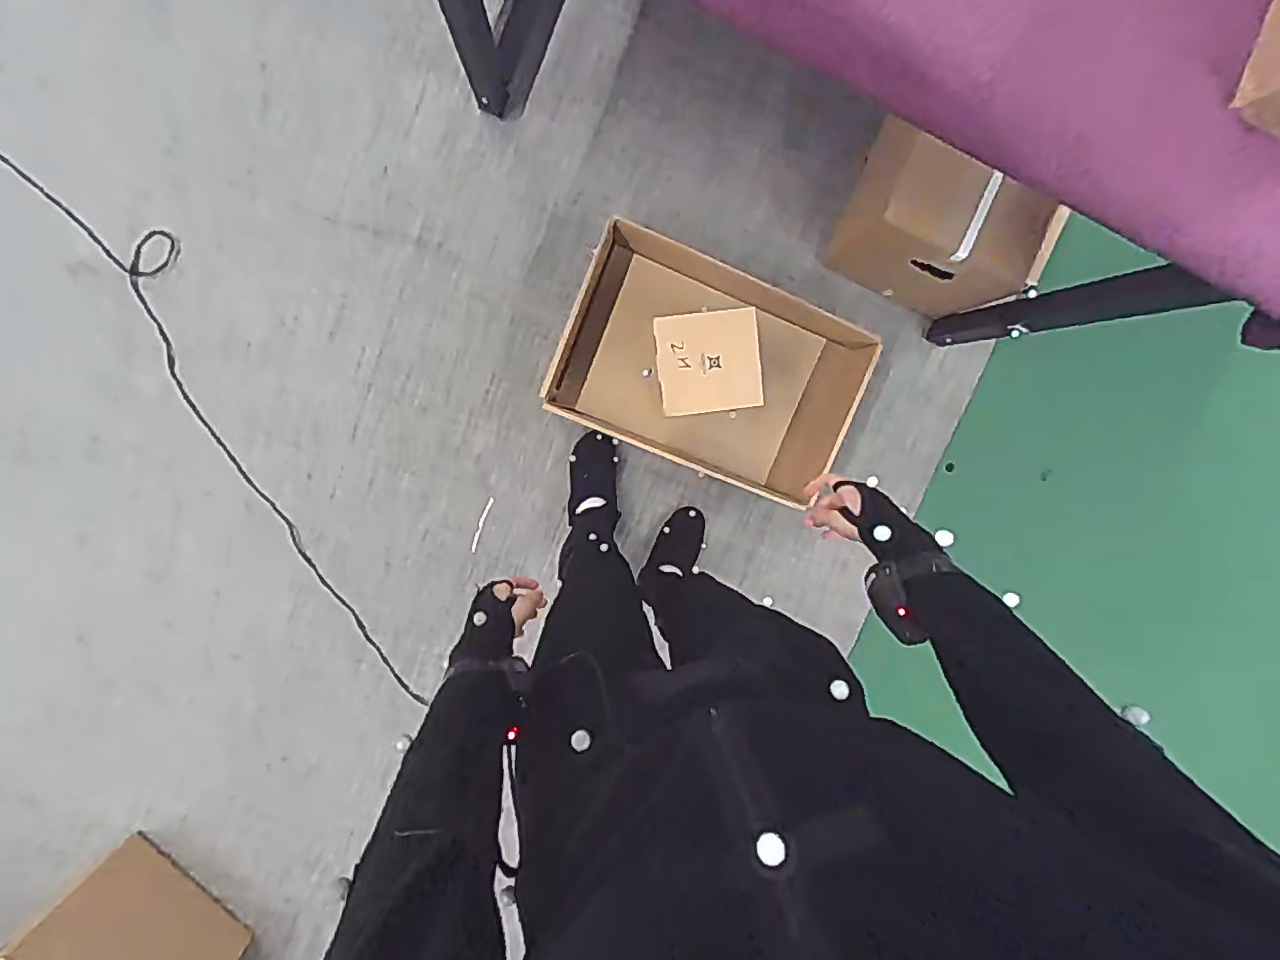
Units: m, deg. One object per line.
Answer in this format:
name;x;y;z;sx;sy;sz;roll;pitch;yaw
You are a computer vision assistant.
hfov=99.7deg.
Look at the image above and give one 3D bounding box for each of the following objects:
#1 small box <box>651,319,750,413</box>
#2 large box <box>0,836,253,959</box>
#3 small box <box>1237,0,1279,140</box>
small box;0.119;-0.232;1.137;0.179;0.176;0.168;-8;99;-3
large box;-1.205;1.125;1.203;0.320;0.320;0.408;-38;98;1
small box;0.703;-0.419;0.471;0.168;0.176;0.179;19;95;-6
